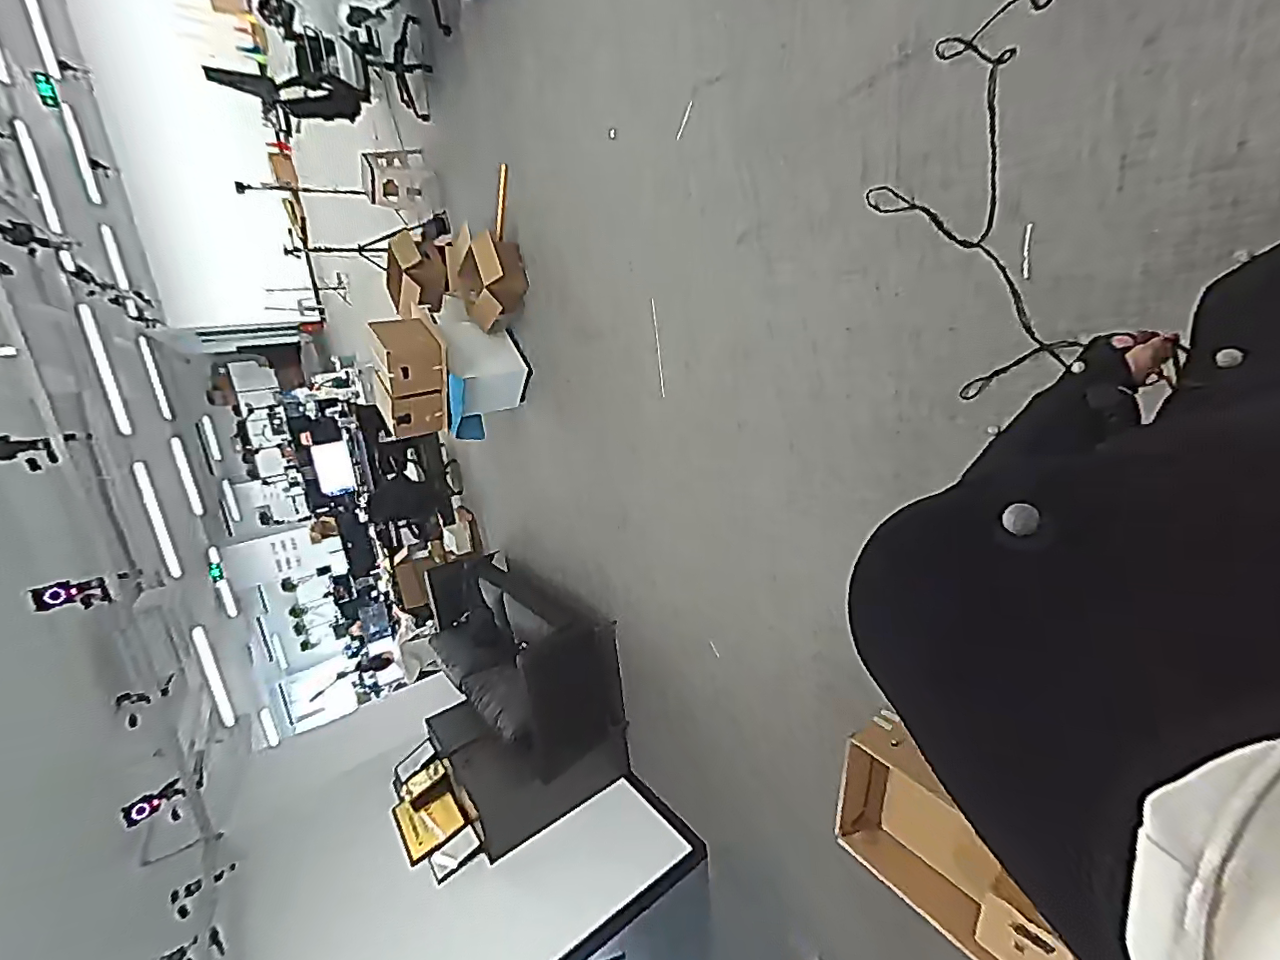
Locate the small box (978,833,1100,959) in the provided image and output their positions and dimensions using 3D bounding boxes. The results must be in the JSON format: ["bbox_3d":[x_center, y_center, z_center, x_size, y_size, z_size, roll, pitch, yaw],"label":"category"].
[{"bbox_3d":[0.910,0.963,1.233,0.168,0.176,0.179,24,124,51],"label":"small box"}]
